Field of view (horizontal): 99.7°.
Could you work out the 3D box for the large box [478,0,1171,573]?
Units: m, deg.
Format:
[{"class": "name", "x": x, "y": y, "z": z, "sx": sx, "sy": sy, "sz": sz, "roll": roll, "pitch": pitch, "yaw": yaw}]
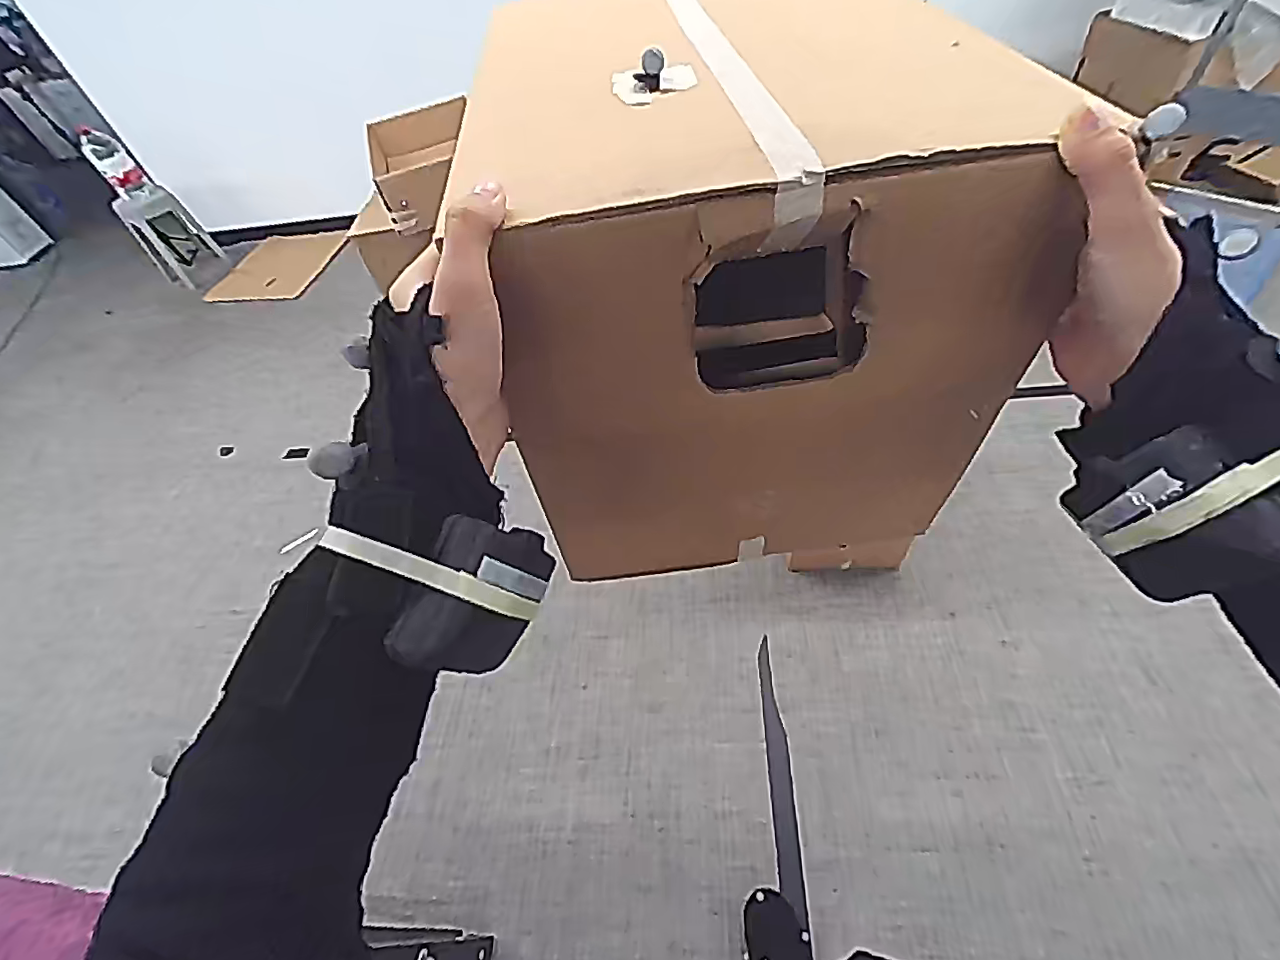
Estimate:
[{"class": "large box", "x": 0.067, "y": -0.183, "z": 0.469, "sx": 0.320, "sy": 0.320, "sz": 0.408, "roll": -9, "pitch": 52, "yaw": 0}]
